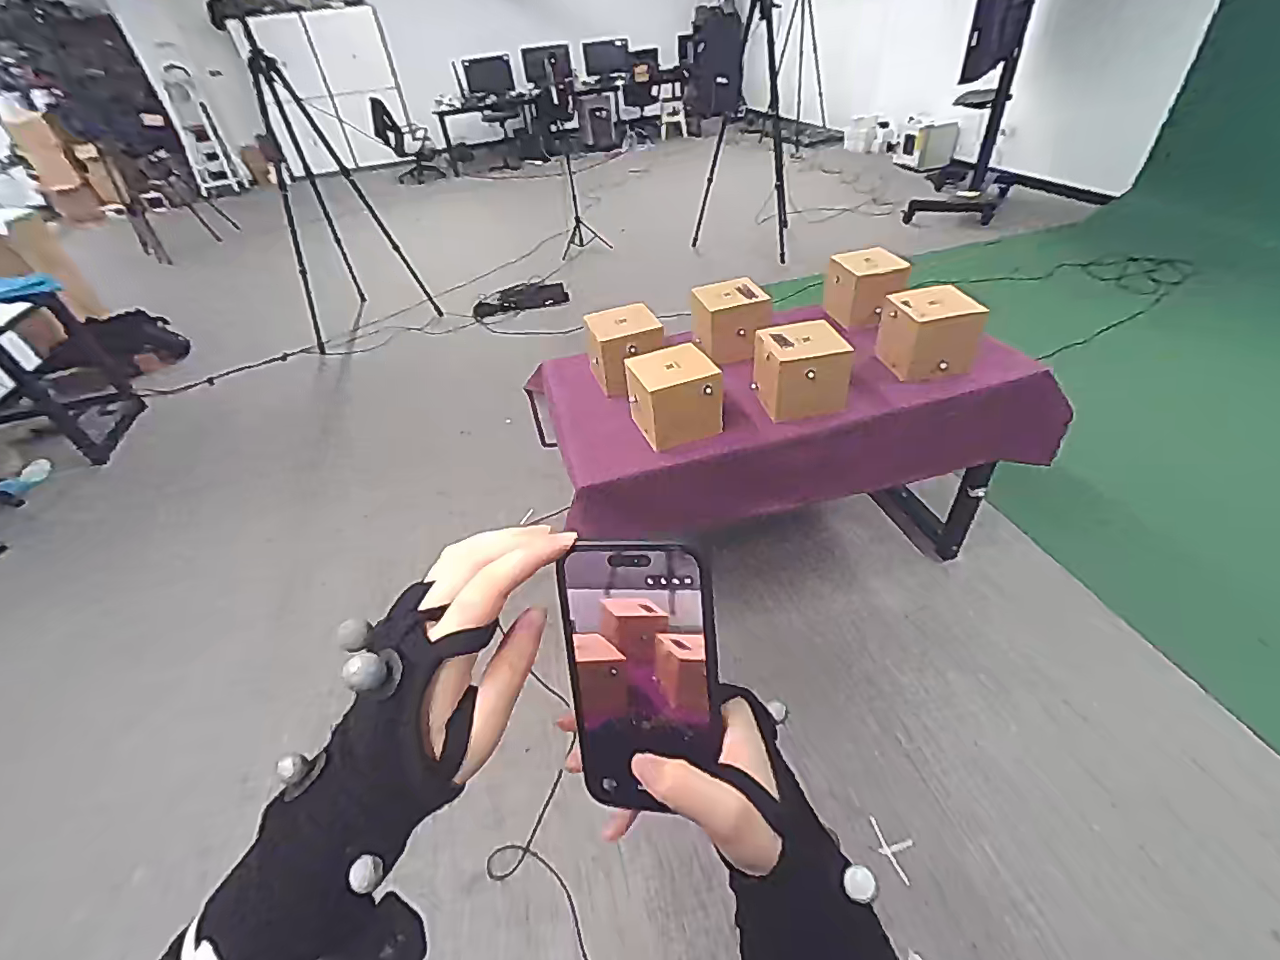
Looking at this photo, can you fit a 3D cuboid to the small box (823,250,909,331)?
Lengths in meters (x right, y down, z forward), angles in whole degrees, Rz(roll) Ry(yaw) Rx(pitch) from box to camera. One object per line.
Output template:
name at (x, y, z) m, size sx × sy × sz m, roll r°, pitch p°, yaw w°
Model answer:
small box at (0.665, -0.565, 1.619) m, size 0.168 × 0.176 × 0.179 m, roll -12°, pitch 42°, yaw -5°

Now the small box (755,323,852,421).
small box at (0.385, -0.259, 1.308) m, size 0.179 × 0.176 × 0.168 m, roll -9°, pitch 41°, yaw -4°

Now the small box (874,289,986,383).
small box at (0.731, -0.367, 1.385) m, size 0.179 × 0.176 × 0.168 m, roll -9°, pitch 41°, yaw -3°

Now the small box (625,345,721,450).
small box at (0.080, -0.193, 1.275) m, size 0.179 × 0.176 × 0.168 m, roll -17°, pitch 42°, yaw -13°
